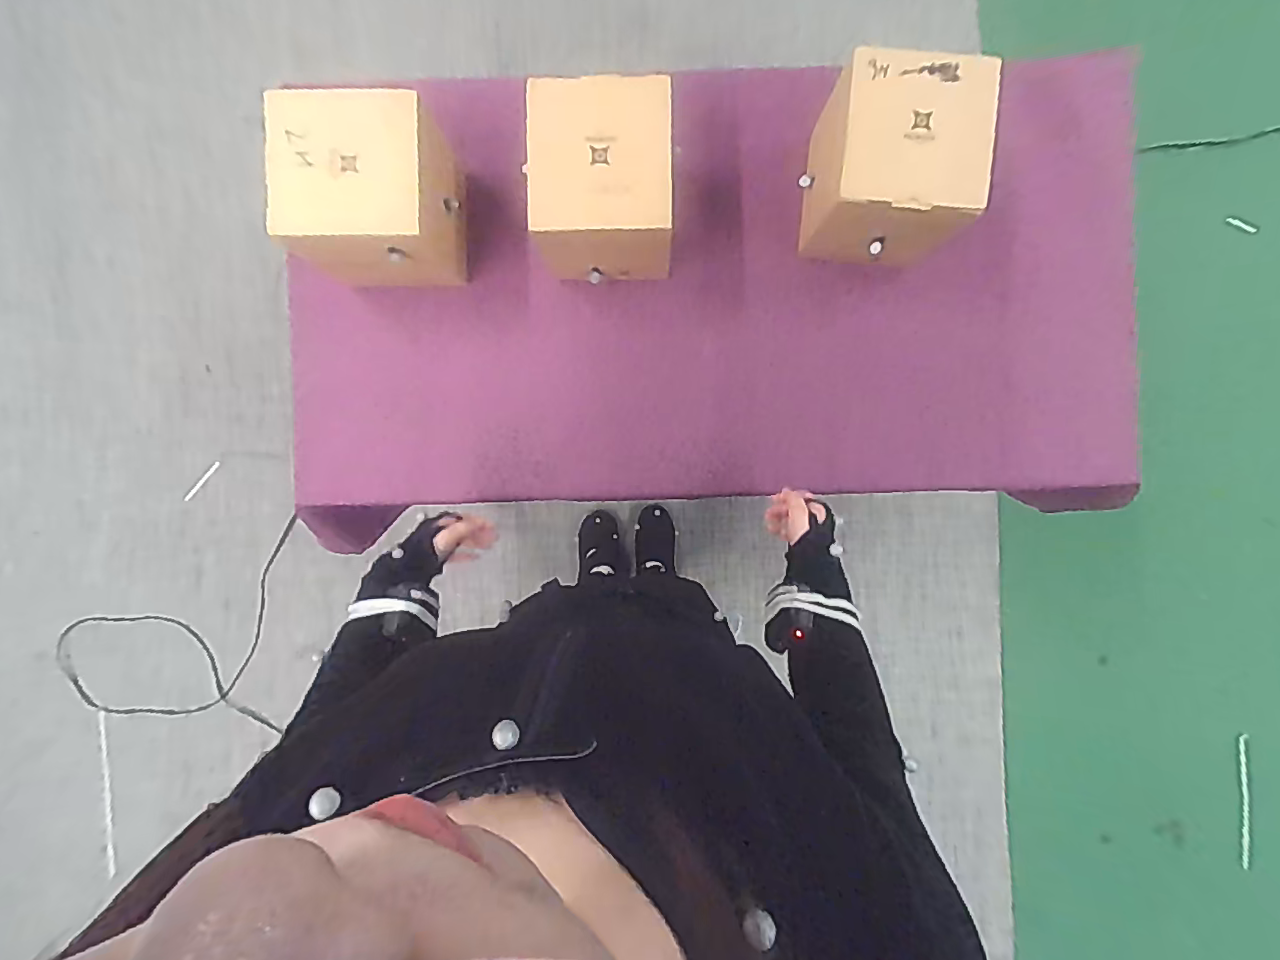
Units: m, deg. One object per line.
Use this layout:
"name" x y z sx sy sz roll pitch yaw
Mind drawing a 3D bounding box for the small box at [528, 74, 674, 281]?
"small box" -0.044 -0.371 0.690 0.168 0.176 0.179 0 91 2

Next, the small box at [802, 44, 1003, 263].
"small box" 0.312 -0.393 0.681 0.168 0.176 0.179 6 92 0

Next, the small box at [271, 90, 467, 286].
"small box" -0.331 -0.360 0.694 0.179 0.176 0.168 0 90 1
